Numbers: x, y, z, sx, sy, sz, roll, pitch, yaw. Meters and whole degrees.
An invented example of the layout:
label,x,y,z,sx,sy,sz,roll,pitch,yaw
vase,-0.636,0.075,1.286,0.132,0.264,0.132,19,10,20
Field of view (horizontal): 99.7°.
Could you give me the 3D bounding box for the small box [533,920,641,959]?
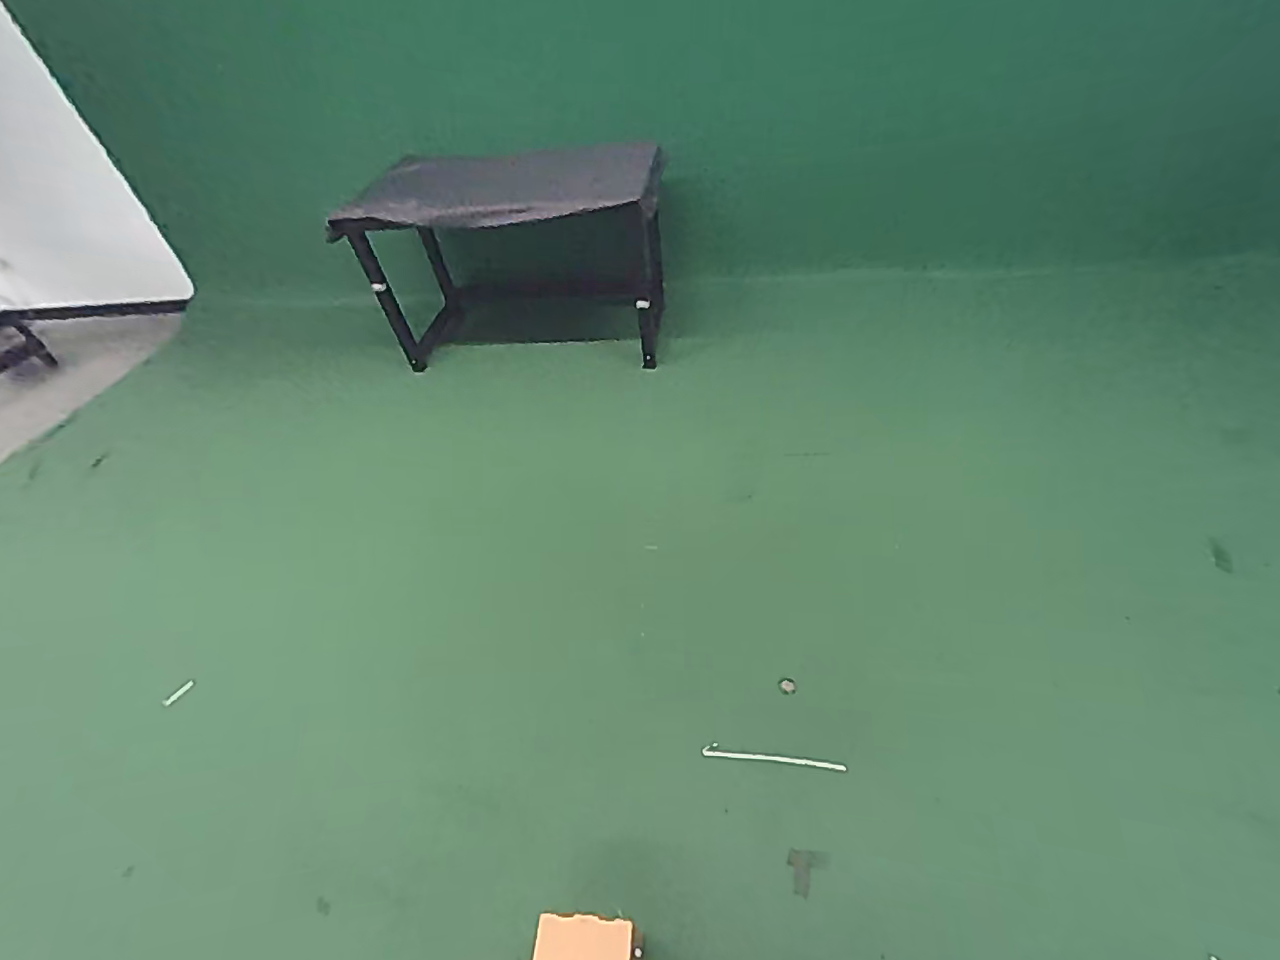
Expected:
label,x,y,z,sx,sy,sz,roll,pitch,yaw
small box,-0.092,0.882,0.923,0.168,0.176,0.179,-1,44,8
